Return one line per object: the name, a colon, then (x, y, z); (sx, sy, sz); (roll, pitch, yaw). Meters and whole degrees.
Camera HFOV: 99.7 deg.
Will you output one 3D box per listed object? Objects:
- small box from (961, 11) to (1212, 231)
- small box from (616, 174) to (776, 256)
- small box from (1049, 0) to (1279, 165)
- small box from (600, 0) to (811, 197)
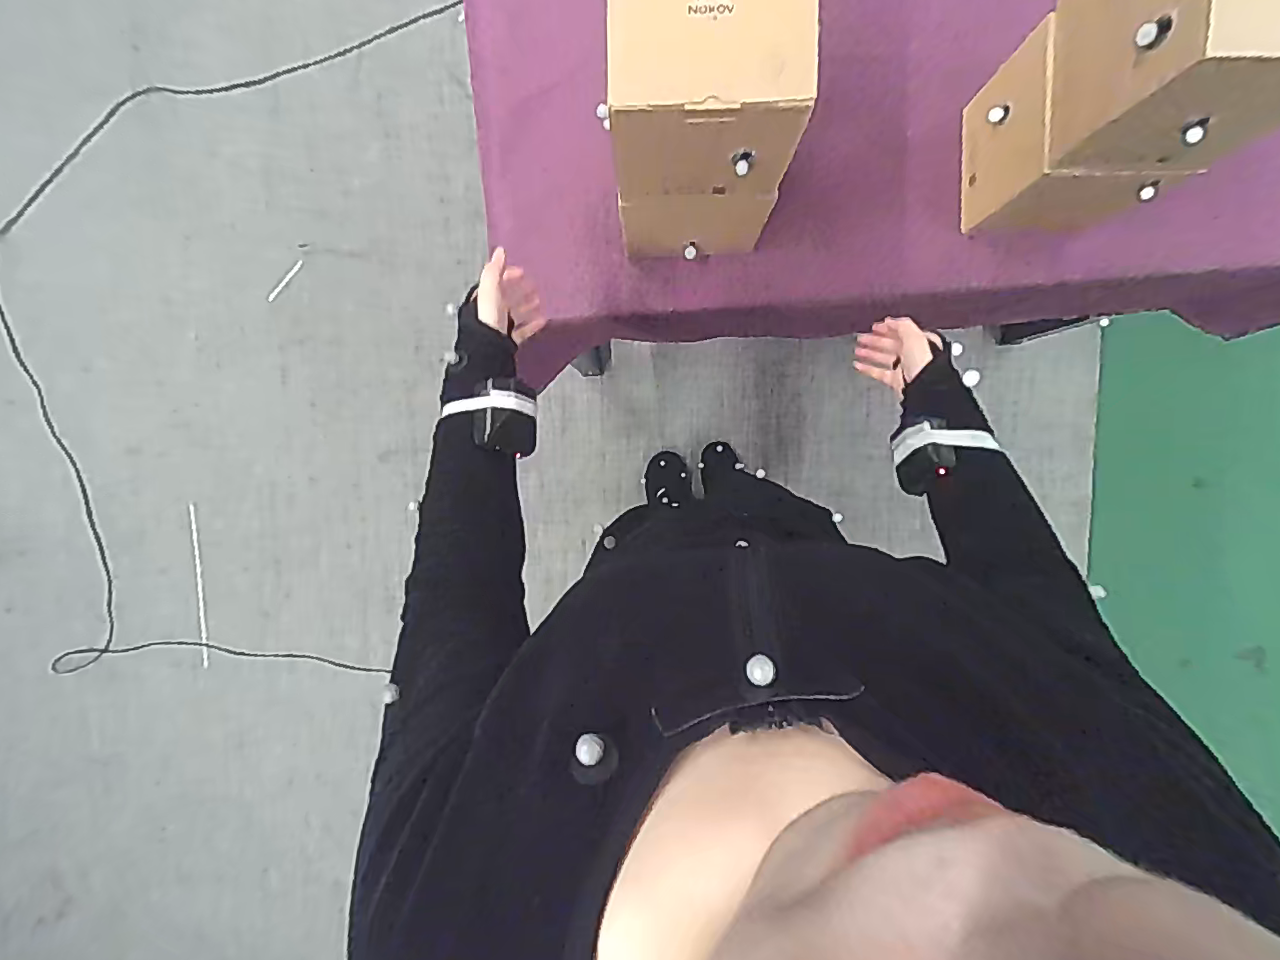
small box: (0.511, -0.410, 0.642); (0.179, 0.176, 0.168); (-1, 94, 2)
small box: (0.060, -0.387, 0.662); (0.179, 0.176, 0.168); (-2, 93, 2)
small box: (0.504, -0.406, 0.478); (0.168, 0.176, 0.179); (1, 93, 2)
small box: (0.055, -0.382, 0.498); (0.168, 0.176, 0.179); (0, 93, 2)
